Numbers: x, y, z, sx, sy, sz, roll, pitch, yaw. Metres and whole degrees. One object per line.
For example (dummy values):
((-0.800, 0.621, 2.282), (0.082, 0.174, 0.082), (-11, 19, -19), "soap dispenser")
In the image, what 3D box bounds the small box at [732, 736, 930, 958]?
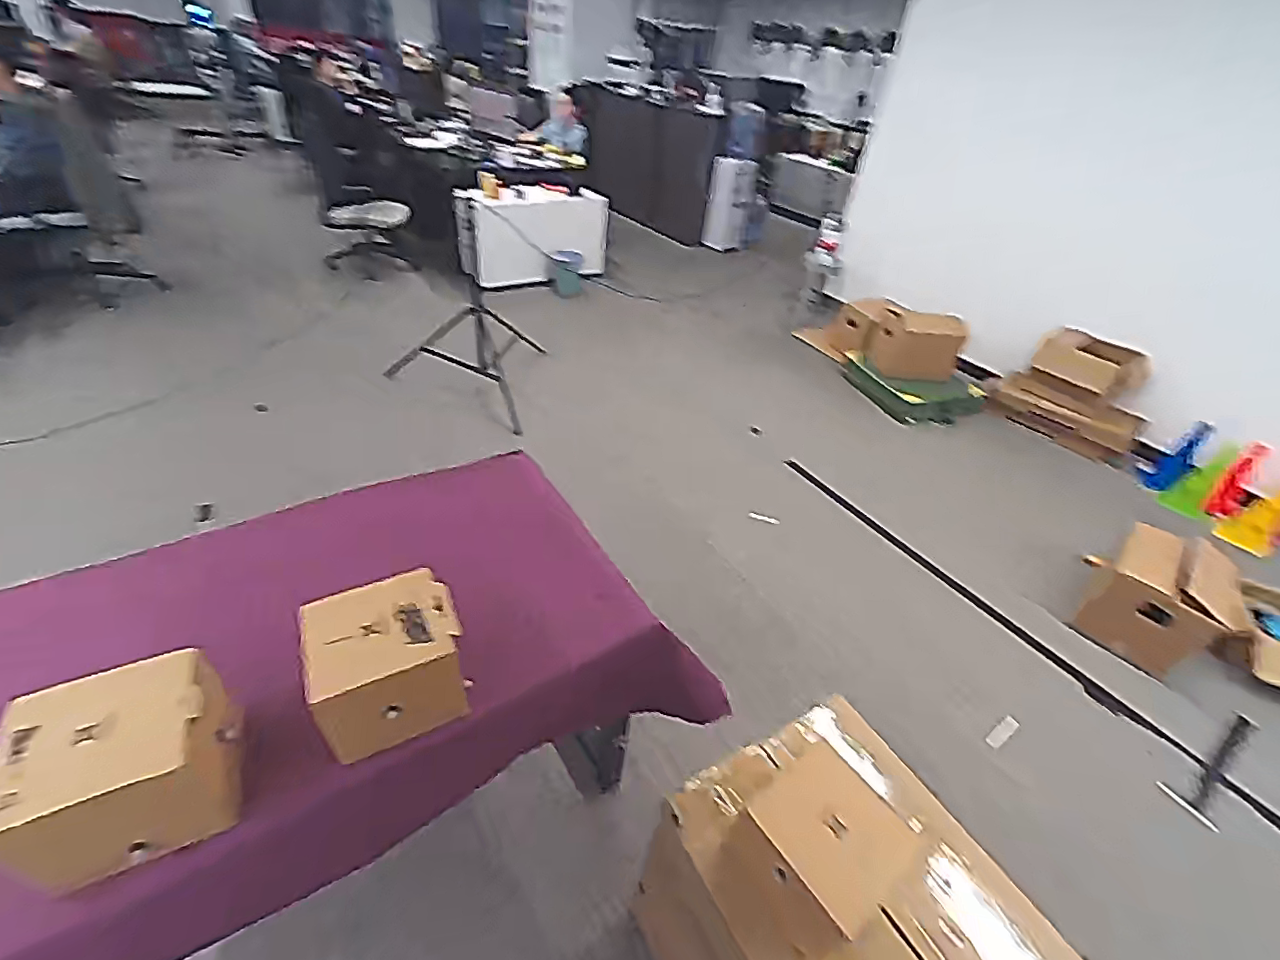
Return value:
((0.251, 0.509, 0.754), (0.168, 0.176, 0.179), (-24, 49, -30), "small box")

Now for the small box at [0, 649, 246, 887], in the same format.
((-0.608, 0.345, 0.659), (0.179, 0.176, 0.168), (-13, 42, -25), "small box")

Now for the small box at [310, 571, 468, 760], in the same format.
((-0.360, 0.269, 0.794), (0.179, 0.176, 0.168), (-15, 43, -25), "small box")
